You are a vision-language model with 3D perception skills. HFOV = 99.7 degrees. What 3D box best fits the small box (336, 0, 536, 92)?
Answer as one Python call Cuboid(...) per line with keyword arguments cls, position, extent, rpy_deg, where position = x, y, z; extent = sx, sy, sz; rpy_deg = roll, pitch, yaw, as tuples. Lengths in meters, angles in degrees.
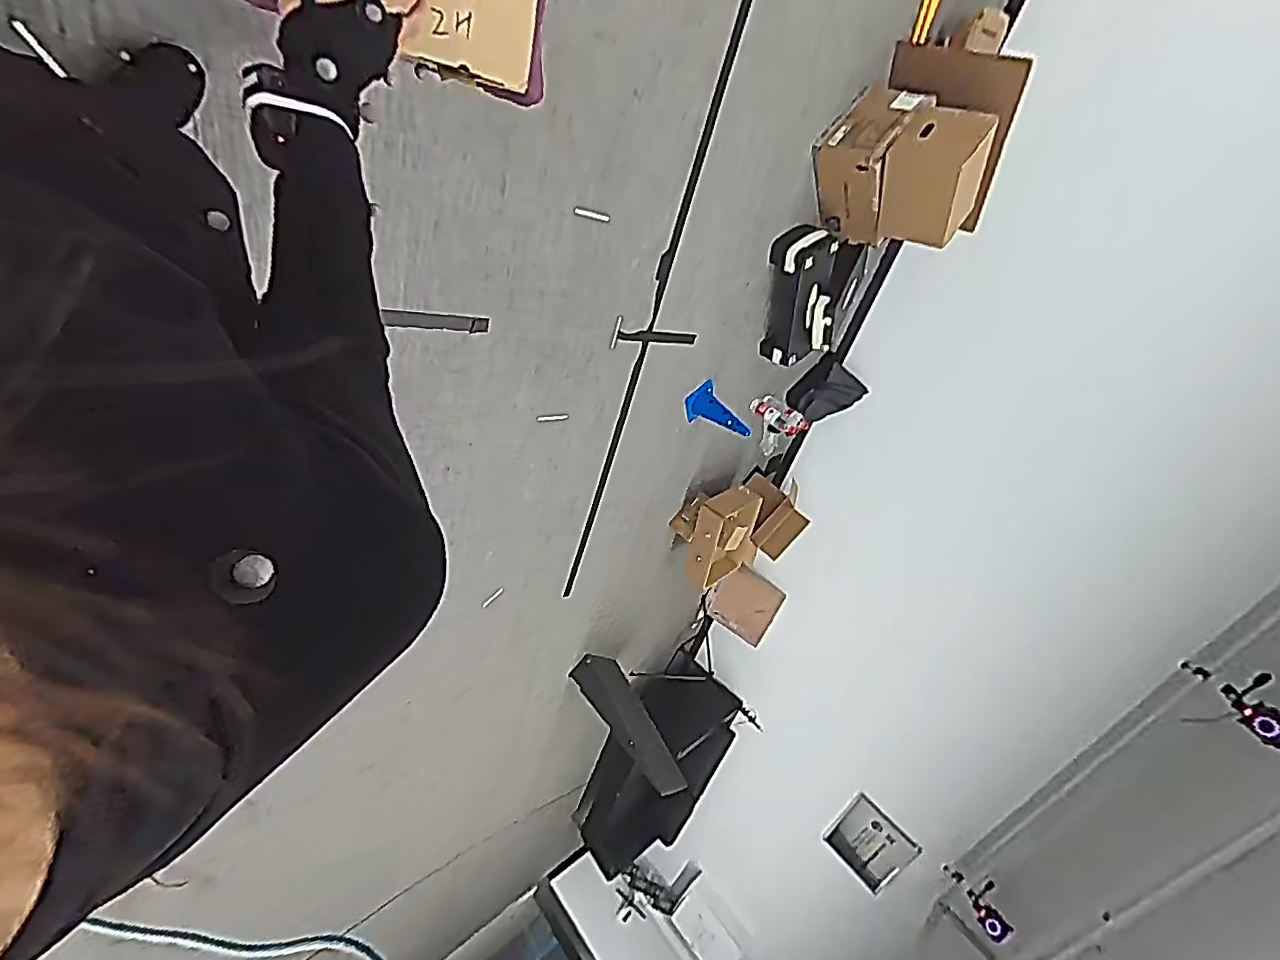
Cuboid(cls="small box", position=(-0.231, -0.575, 0.611), extent=(0.168, 0.176, 0.179), rpy_deg=(-14, 133, -41))
